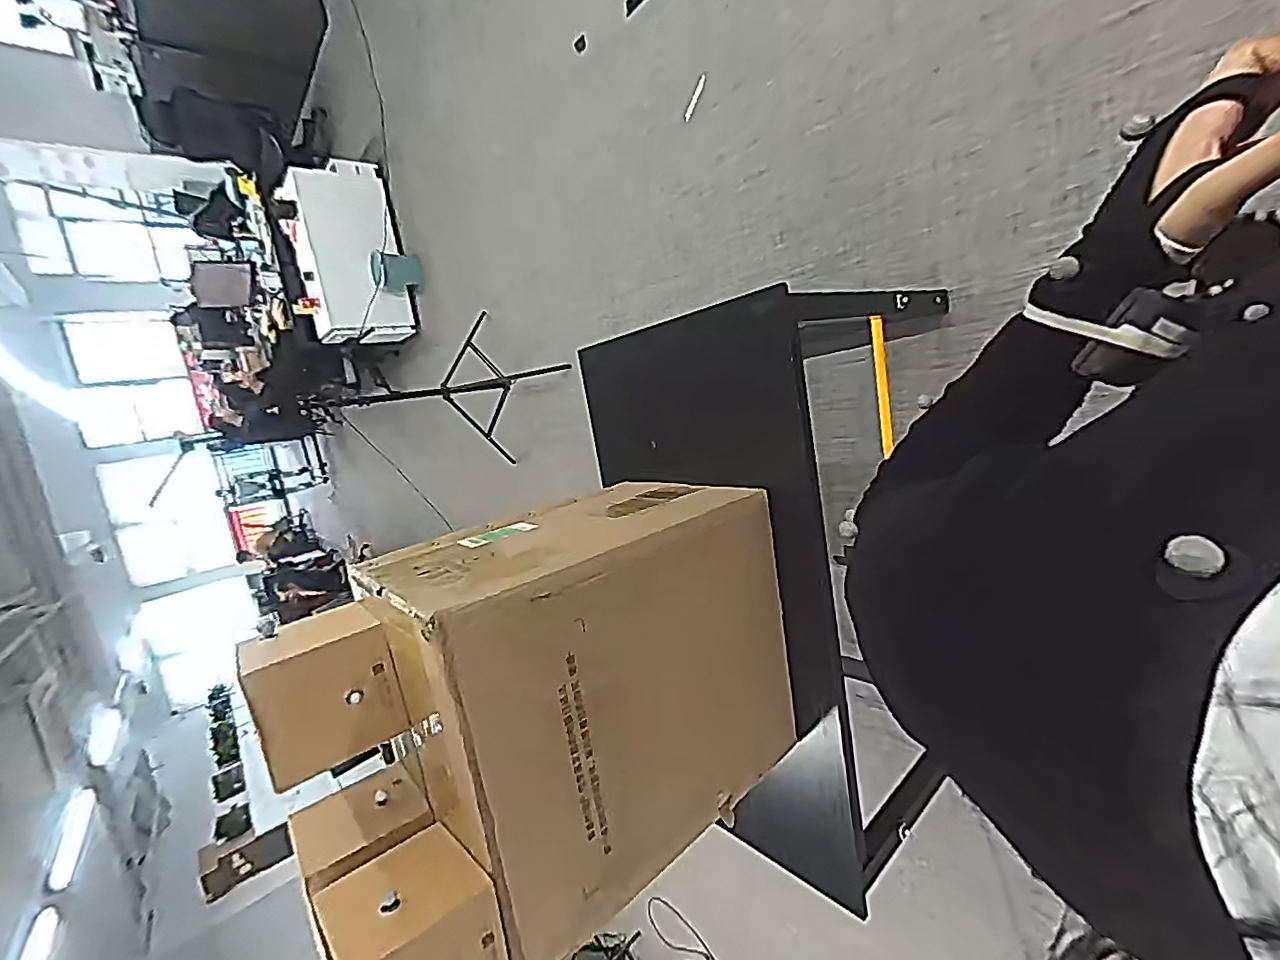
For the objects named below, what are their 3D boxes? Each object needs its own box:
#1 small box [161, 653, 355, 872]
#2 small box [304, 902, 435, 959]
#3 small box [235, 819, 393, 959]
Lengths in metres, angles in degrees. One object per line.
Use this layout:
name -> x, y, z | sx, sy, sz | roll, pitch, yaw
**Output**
small box -> -0.498, 0.353, 0.720 | 0.179, 0.176, 0.168 | 0, 104, 52
small box -> -0.312, 0.626, 0.596 | 0.179, 0.176, 0.168 | -7, 95, 48
small box -> -0.441, 0.632, 0.756 | 0.168, 0.176, 0.179 | 3, 104, 51
